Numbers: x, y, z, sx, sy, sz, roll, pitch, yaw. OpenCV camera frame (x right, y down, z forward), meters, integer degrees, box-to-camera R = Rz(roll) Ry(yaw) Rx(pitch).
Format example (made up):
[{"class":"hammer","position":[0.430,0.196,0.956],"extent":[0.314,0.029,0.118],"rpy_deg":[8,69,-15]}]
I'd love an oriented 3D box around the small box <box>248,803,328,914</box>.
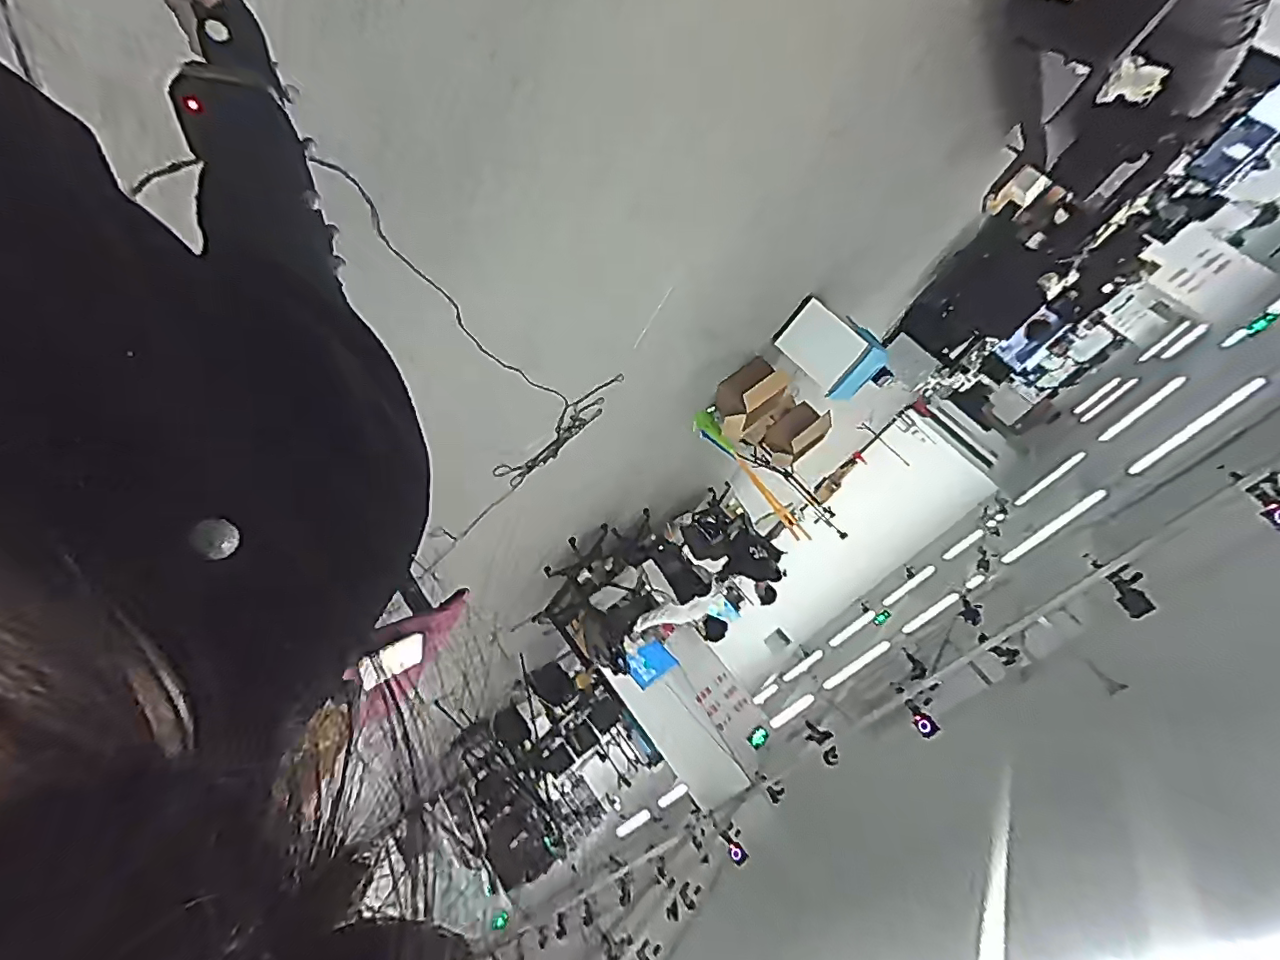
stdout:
[{"class":"small box","position":[-1.047,1.091,1.567],"extent":[0.179,0.176,0.168],"rpy_deg":[-16,148,-53]}]

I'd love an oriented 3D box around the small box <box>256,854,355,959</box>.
[{"class":"small box","position":[-0.943,1.208,1.517],"extent":[0.179,0.176,0.168],"rpy_deg":[-12,145,-54]}]

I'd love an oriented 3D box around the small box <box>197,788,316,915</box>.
[{"class":"small box","position":[-0.951,0.910,1.340],"extent":[0.179,0.176,0.168],"rpy_deg":[-13,148,-55]}]
